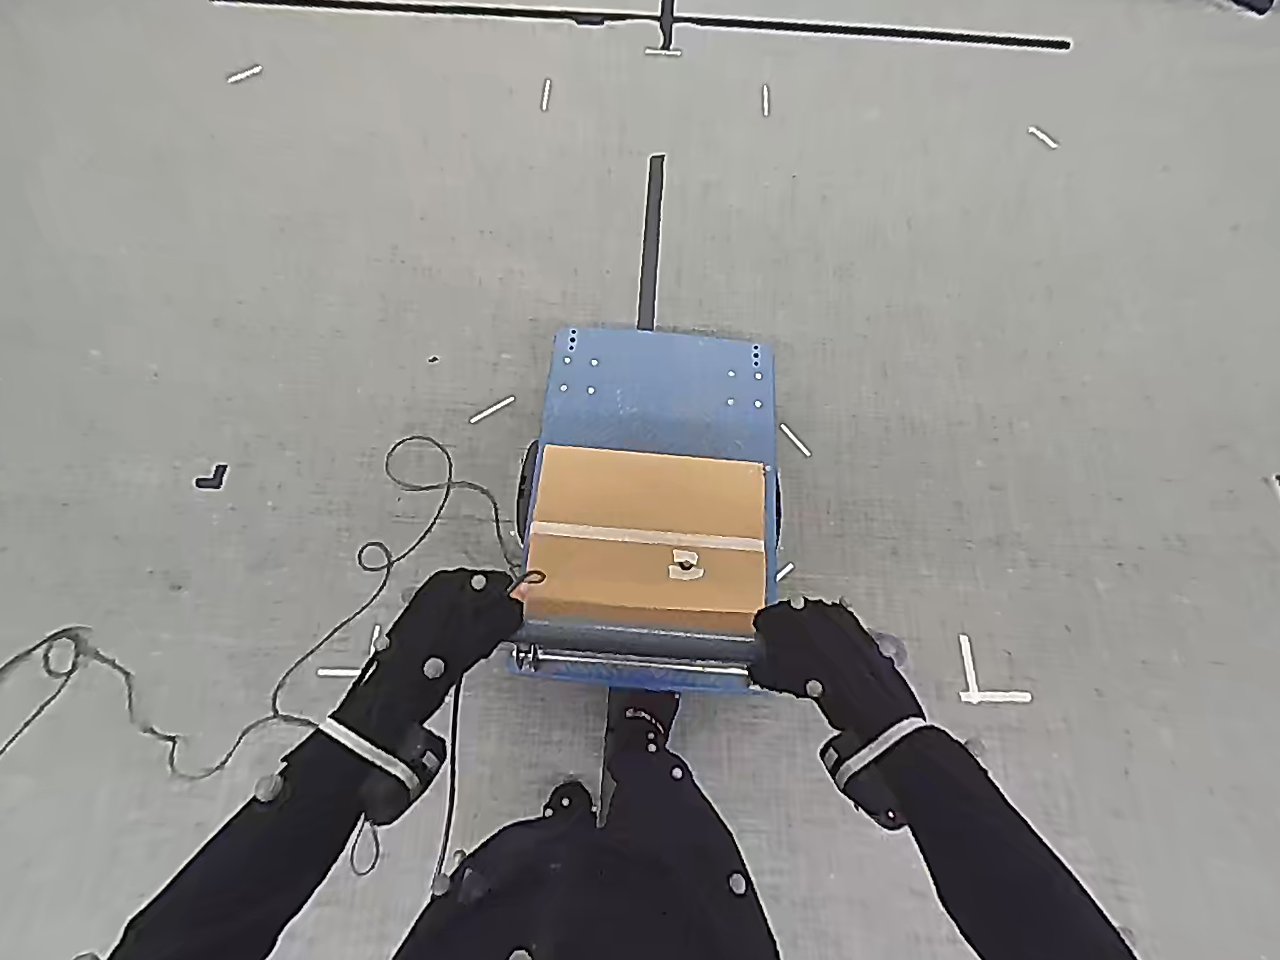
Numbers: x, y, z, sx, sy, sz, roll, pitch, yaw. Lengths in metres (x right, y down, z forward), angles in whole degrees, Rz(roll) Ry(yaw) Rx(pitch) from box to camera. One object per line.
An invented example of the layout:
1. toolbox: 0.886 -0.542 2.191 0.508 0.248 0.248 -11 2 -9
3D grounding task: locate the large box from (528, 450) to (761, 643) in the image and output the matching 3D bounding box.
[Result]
1. large box: 0.009 0.152 1.098 0.408 0.320 0.320 5 71 -1
